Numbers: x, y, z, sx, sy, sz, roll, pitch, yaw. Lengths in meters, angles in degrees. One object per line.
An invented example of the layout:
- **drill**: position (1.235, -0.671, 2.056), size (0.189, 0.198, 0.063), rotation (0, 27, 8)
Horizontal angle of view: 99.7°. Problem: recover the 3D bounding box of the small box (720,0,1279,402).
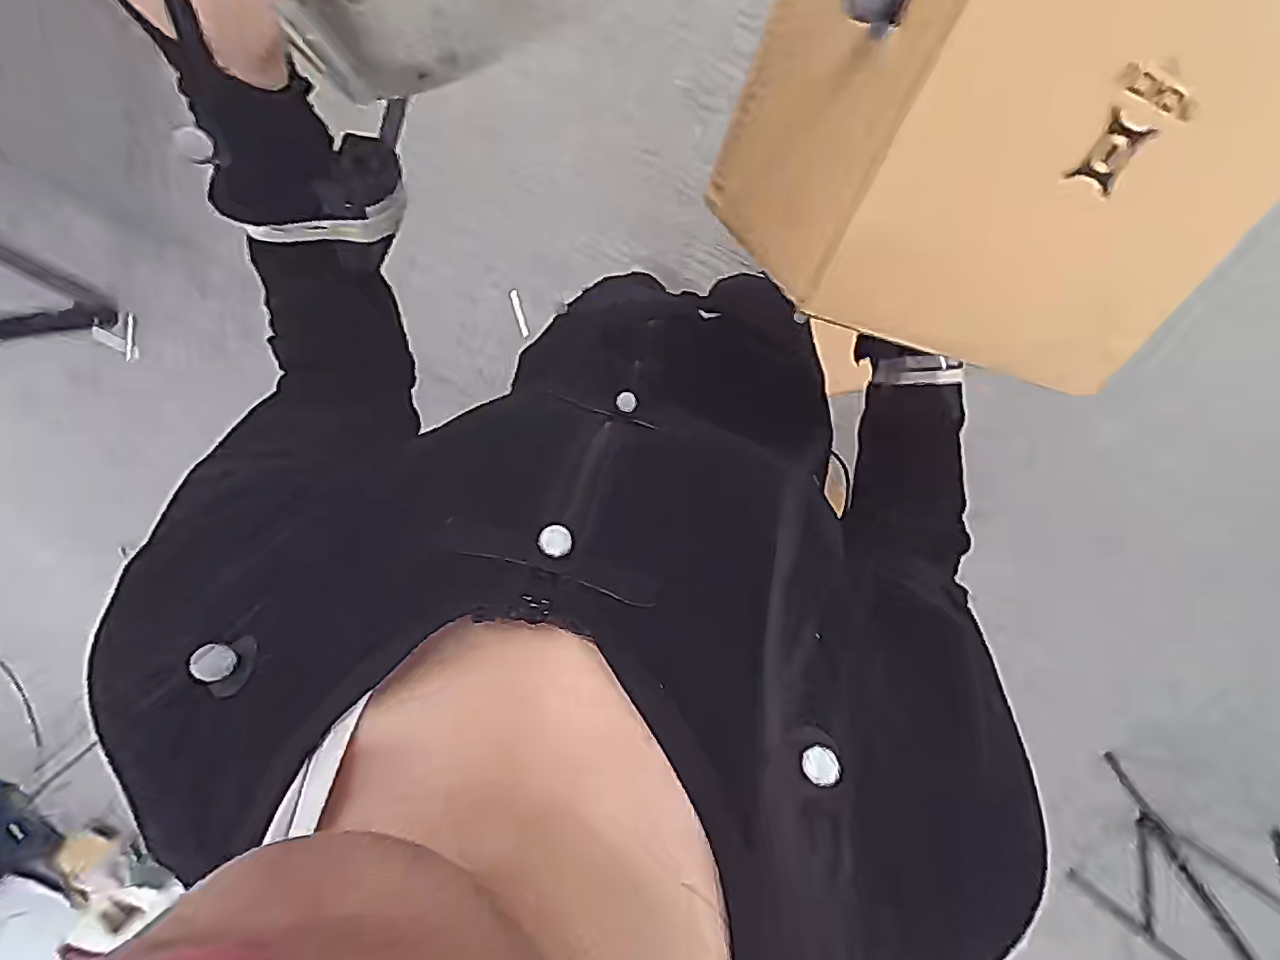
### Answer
- **small box**: position (0.151, -0.166, 0.247), size (0.168, 0.176, 0.179), rotation (10, 126, -18)
